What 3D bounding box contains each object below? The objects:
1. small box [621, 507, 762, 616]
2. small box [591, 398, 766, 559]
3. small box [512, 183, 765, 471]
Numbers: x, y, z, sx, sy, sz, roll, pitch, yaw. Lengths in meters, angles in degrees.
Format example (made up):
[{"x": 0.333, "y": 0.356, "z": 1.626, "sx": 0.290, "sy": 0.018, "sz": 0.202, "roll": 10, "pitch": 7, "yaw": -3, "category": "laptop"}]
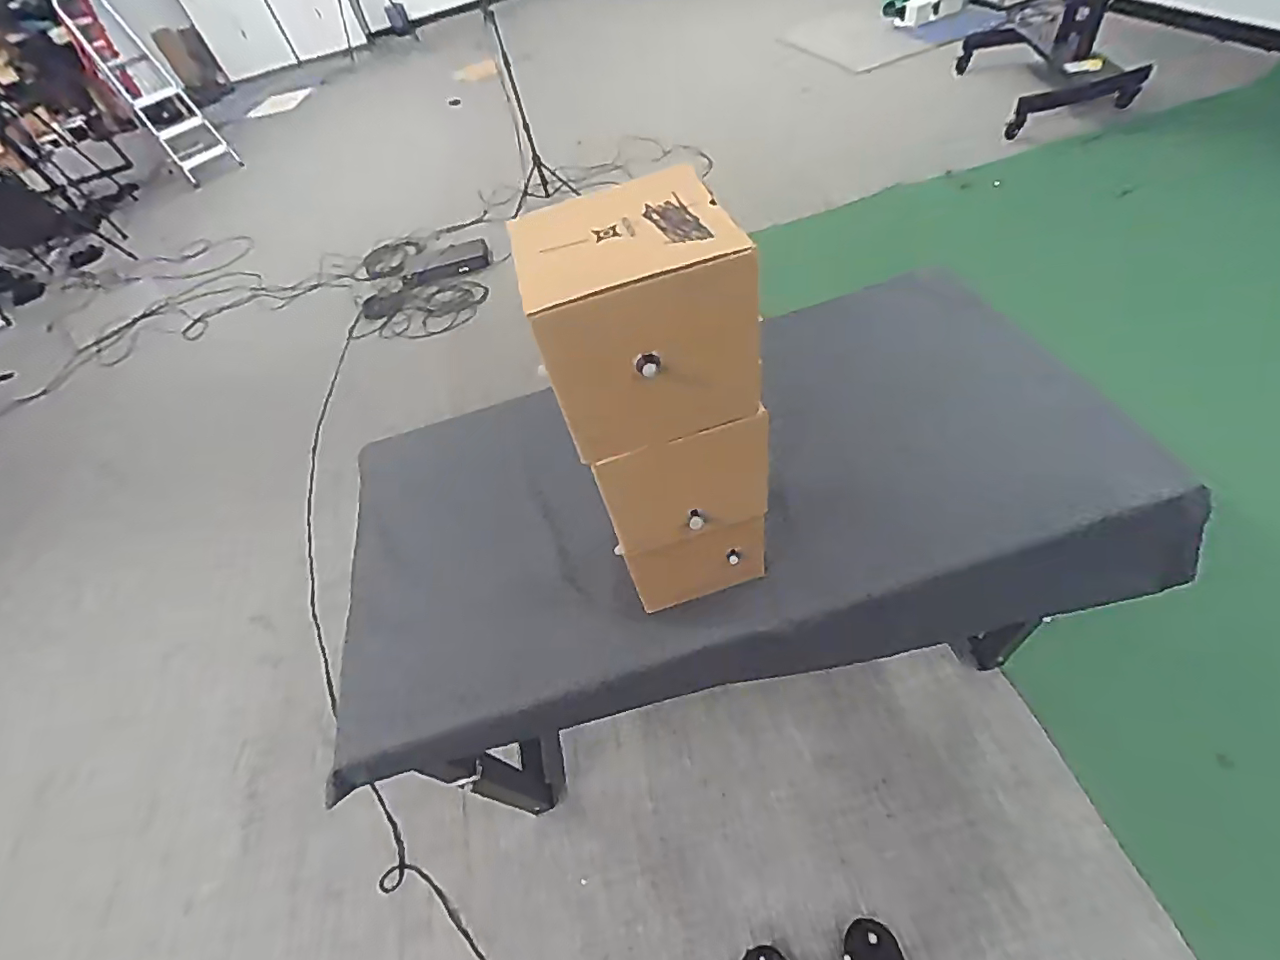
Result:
[{"x": 0.059, "y": 0.063, "z": 0.753, "sx": 0.179, "sy": 0.176, "sz": 0.168, "roll": -19, "pitch": 49, "yaw": 0, "category": "small box"}, {"x": 0.033, "y": -0.035, "z": 0.625, "sx": 0.179, "sy": 0.176, "sz": 0.168, "roll": -17, "pitch": 49, "yaw": -1, "category": "small box"}, {"x": -0.001, "y": -0.137, "z": 0.500, "sx": 0.179, "sy": 0.176, "sz": 0.168, "roll": -18, "pitch": 50, "yaw": -4, "category": "small box"}]
